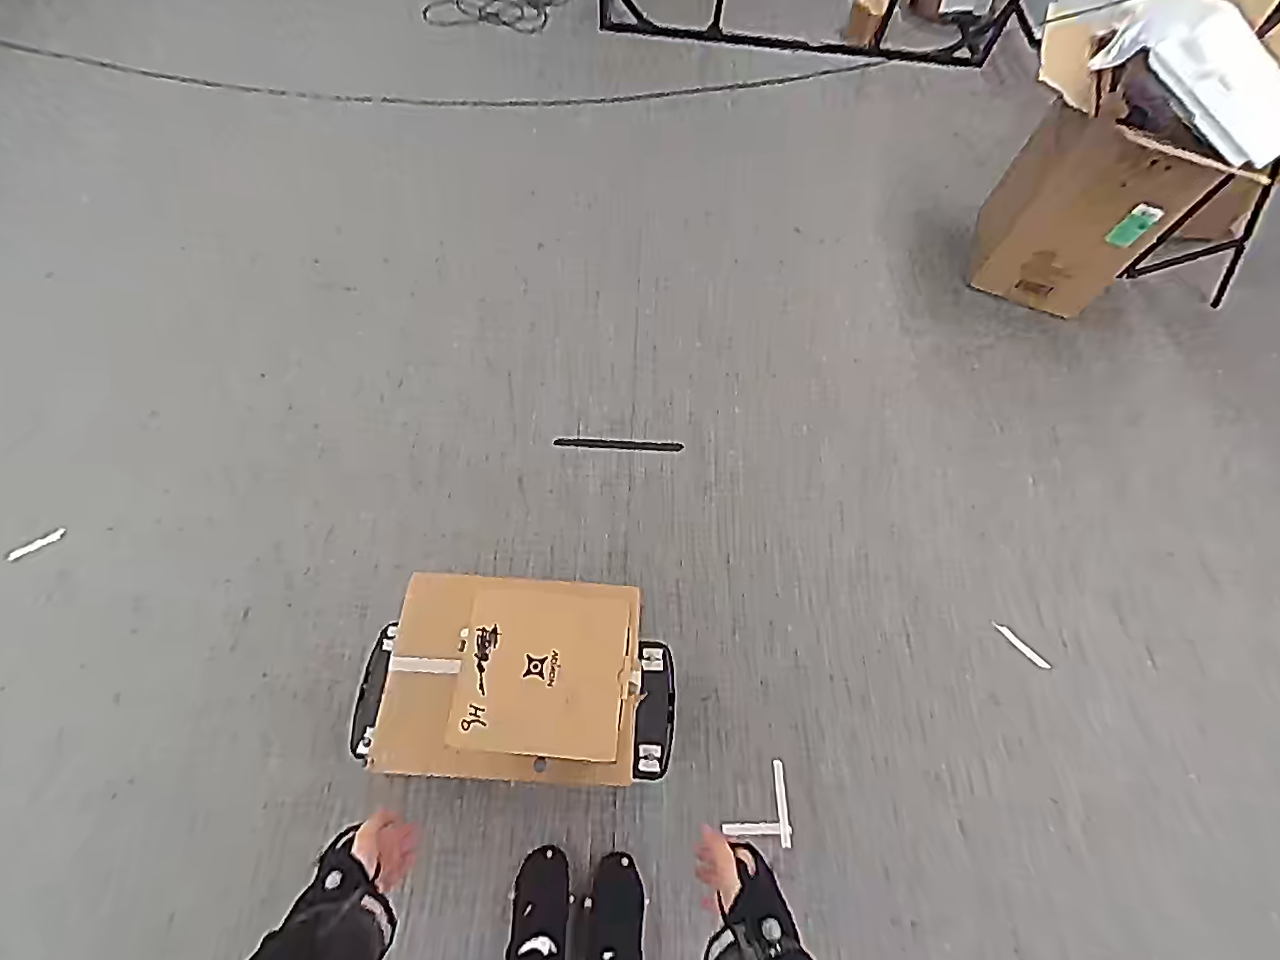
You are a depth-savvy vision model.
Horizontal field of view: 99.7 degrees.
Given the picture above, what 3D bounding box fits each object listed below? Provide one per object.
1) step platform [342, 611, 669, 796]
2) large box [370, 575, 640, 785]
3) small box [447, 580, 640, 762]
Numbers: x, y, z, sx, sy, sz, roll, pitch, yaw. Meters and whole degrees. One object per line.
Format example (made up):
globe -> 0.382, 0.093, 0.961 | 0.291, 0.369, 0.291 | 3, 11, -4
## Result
step platform -> -0.277, 0.495, 1.212 | 0.684, 0.204, 0.286 | 9, 63, 1
large box -> -0.207, 0.377, 1.010 | 0.408, 0.320, 0.320 | 4, 62, -1
small box -> -0.101, 0.228, 0.634 | 0.179, 0.176, 0.168 | 7, 62, -2
